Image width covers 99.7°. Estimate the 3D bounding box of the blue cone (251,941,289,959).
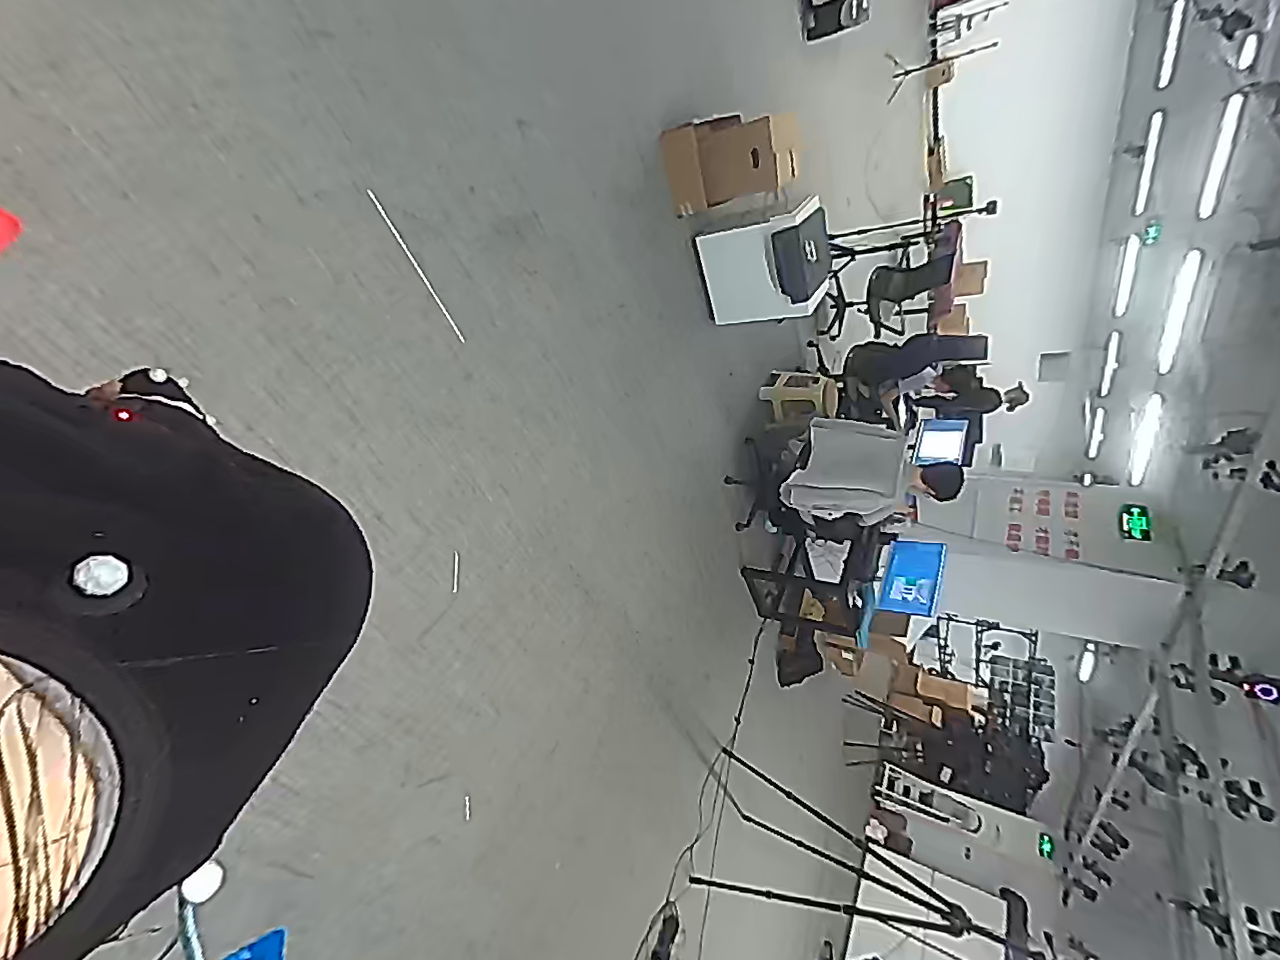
[{"bbox_3d":[-0.863,1.325,1.295,0.193,0.380,0.192,1,92,-58],"label":"blue cone"}]
